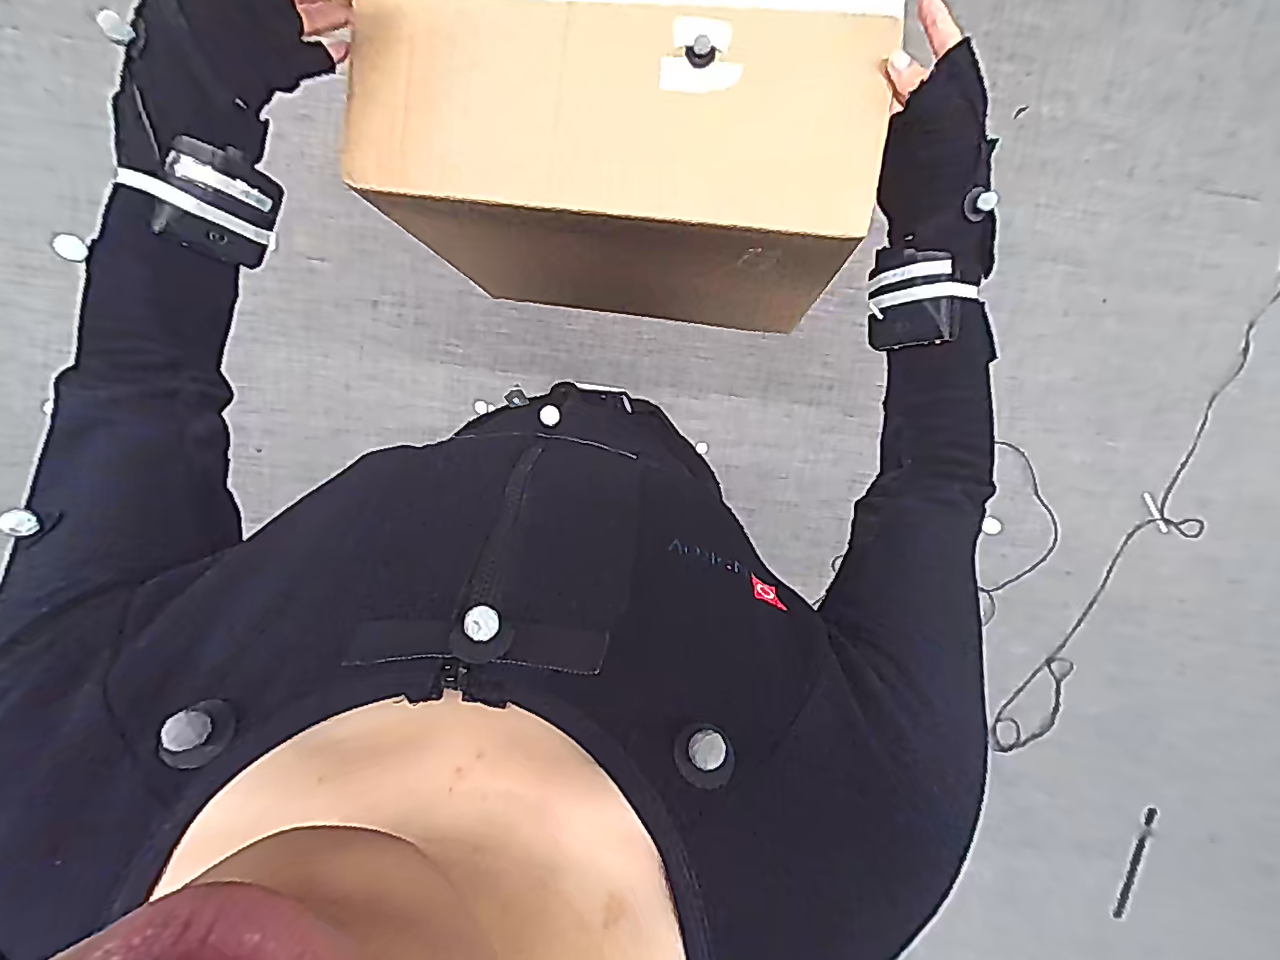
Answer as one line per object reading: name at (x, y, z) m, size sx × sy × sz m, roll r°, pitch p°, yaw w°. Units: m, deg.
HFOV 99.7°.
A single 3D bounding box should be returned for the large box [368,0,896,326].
large box at (0.006, -0.369, 0.563) m, size 0.408 × 0.320 × 0.320 m, roll 9°, pitch 93°, yaw 6°
